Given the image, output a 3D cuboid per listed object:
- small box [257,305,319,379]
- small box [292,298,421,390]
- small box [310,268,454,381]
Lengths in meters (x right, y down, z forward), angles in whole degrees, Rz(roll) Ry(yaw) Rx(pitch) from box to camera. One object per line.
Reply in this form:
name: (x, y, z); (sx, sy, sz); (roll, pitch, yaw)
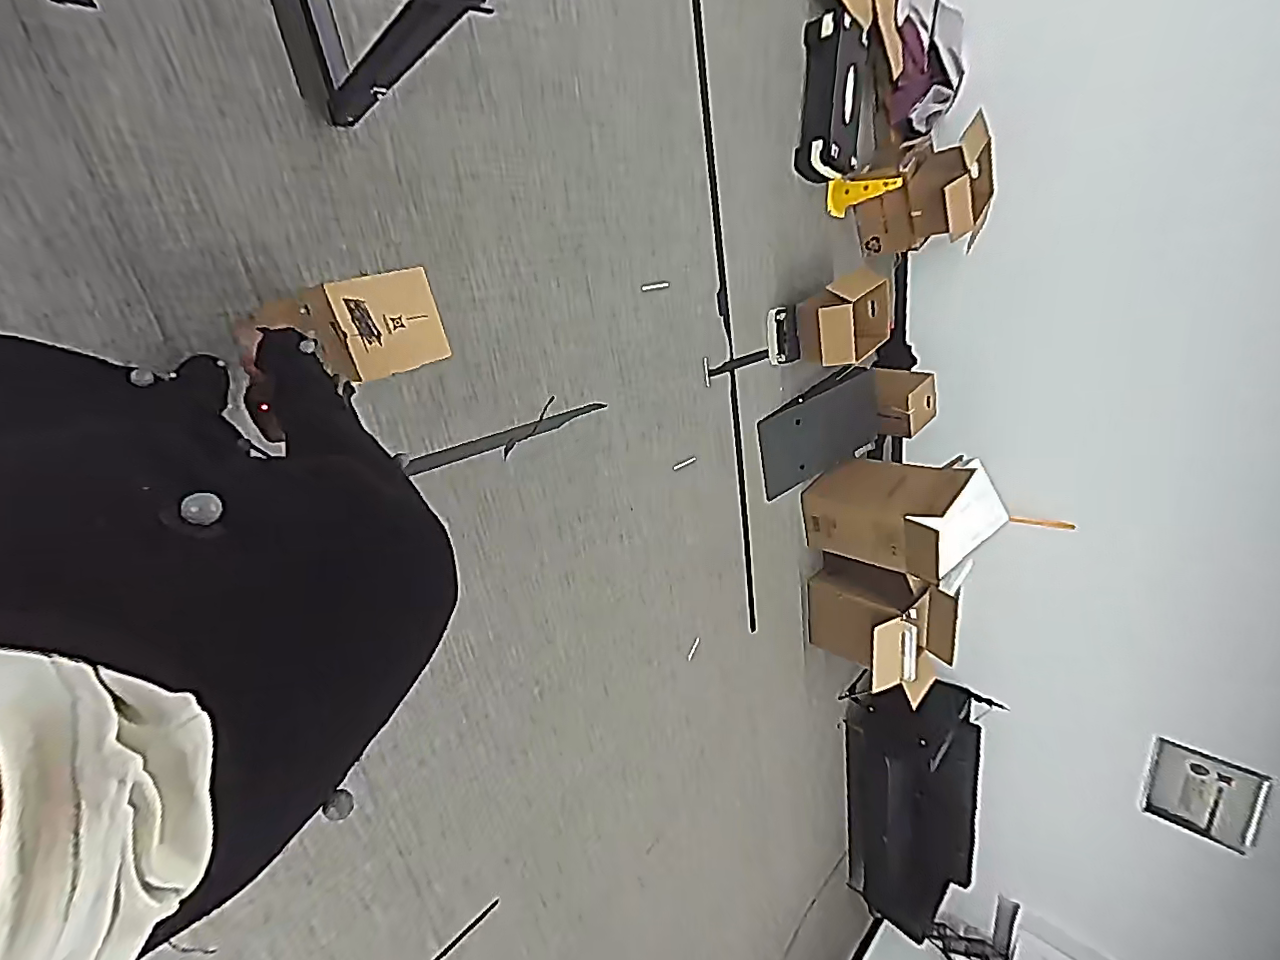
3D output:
small box: (-0.817, -0.356, 1.353); (0.179, 0.176, 0.168); (-27, 117, -36)
small box: (-0.590, -0.298, 1.125); (0.168, 0.176, 0.179); (-29, 119, -36)
small box: (-0.482, -0.285, 1.001); (0.179, 0.176, 0.168); (-30, 119, -36)
